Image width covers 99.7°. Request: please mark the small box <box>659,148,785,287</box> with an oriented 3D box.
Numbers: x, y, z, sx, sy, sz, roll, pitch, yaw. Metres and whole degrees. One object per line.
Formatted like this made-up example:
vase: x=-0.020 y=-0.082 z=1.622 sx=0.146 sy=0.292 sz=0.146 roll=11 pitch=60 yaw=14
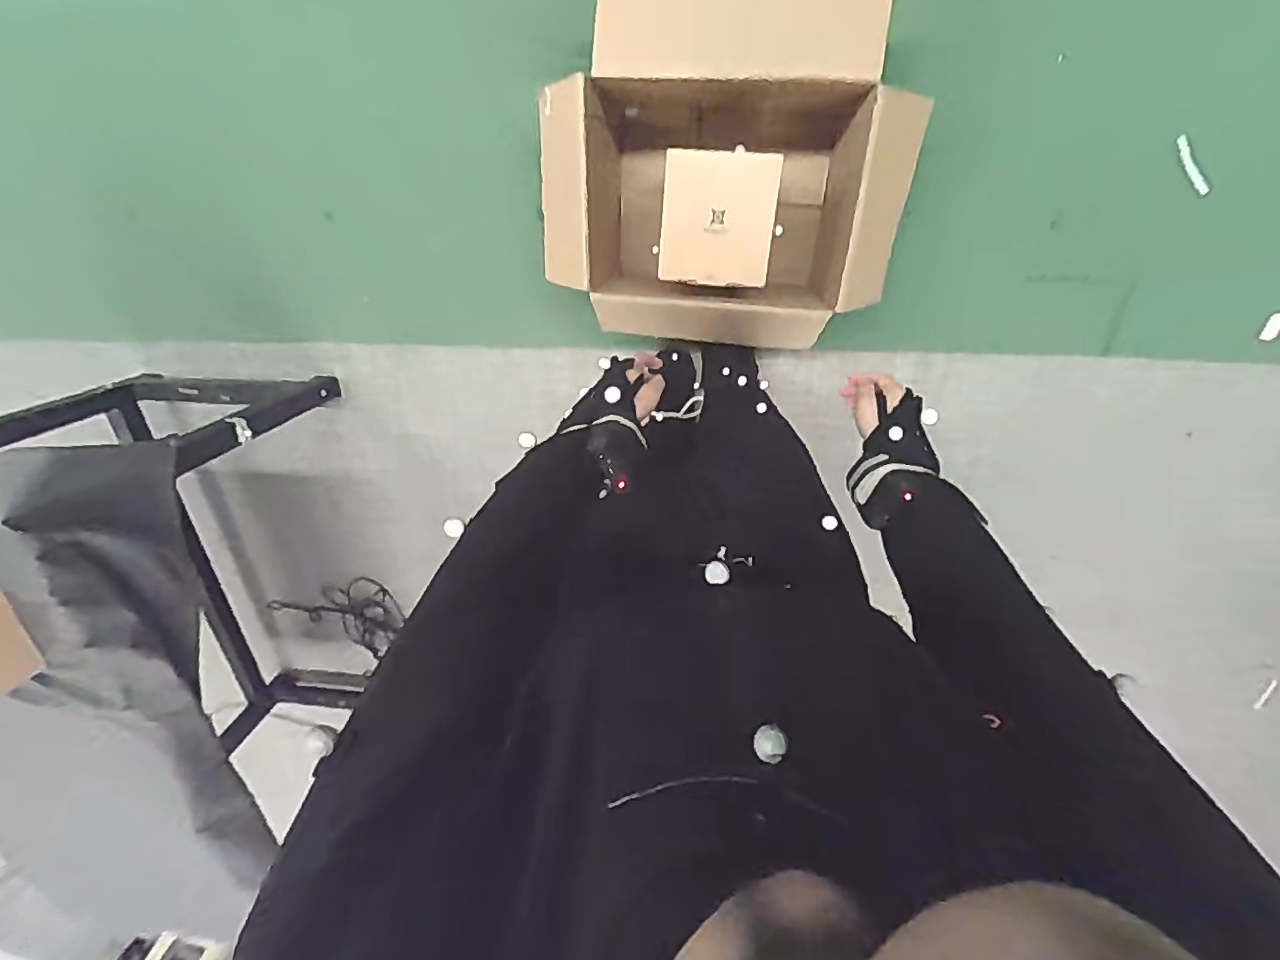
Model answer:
small box: x=0.124 y=-0.412 z=0.857 sx=0.168 sy=0.176 sz=0.179 roll=6 pitch=117 yaw=5
